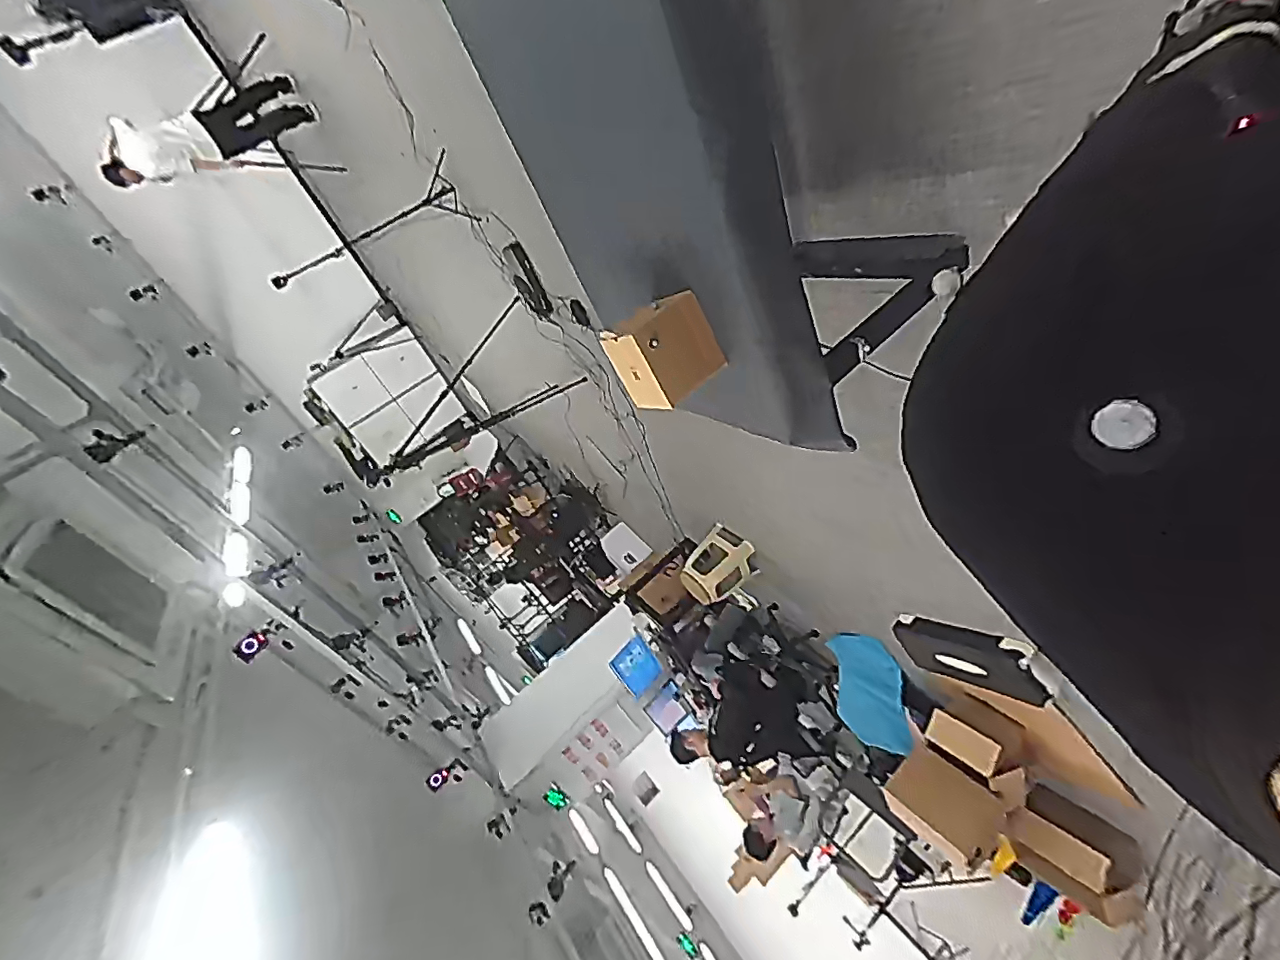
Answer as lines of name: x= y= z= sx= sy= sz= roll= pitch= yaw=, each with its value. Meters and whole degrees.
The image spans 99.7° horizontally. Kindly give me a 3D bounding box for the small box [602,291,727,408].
small box: x=0.054 y=-0.273 z=1.153 sx=0.179 sy=0.176 sz=0.168 roll=58 pitch=162 yaw=-22
